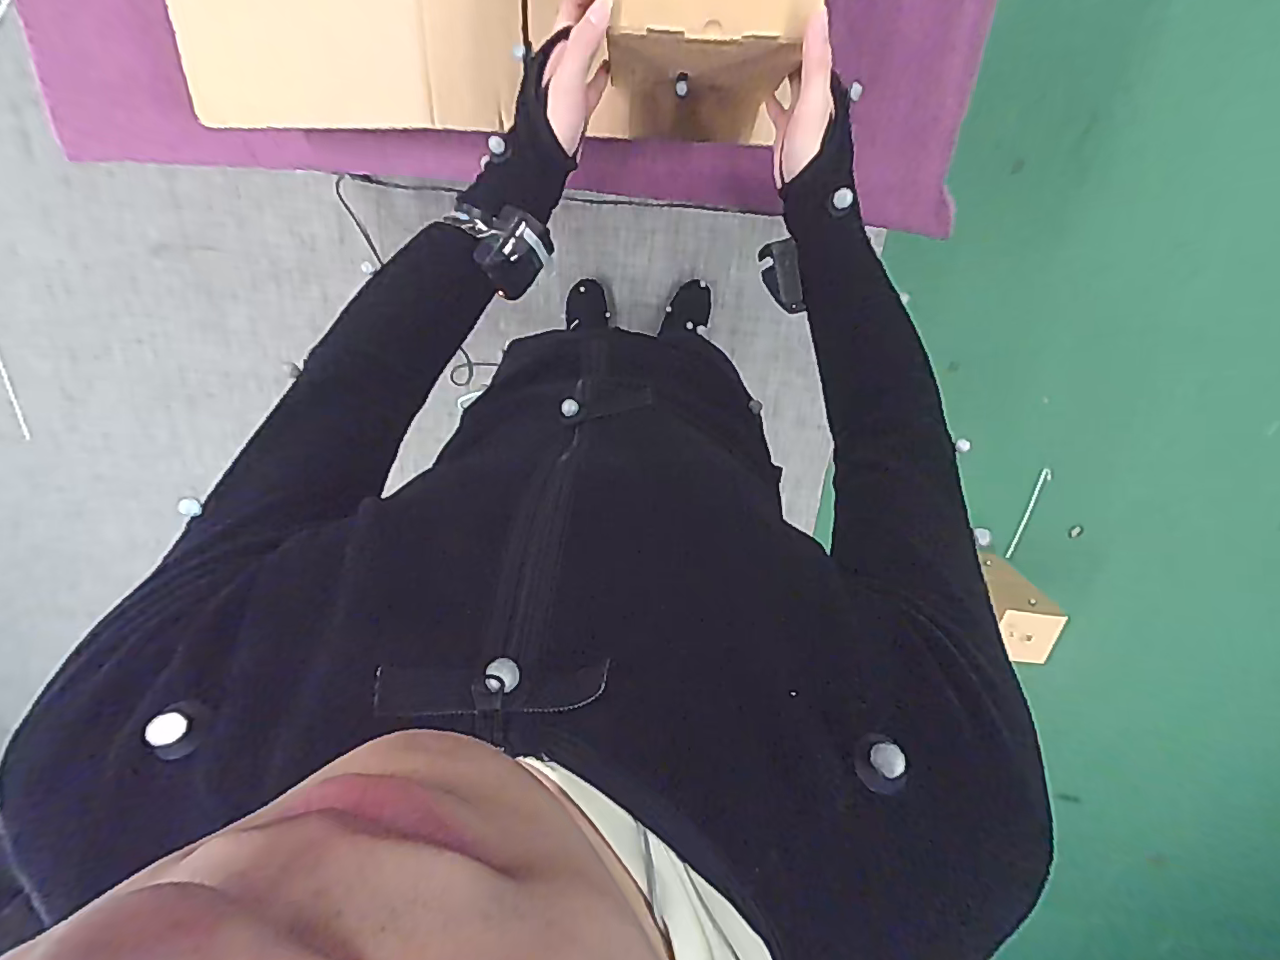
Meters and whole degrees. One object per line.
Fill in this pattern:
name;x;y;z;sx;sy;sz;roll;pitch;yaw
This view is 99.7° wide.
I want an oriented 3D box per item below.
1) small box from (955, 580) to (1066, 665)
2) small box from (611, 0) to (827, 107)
small box;1.063;0.408;1.566;0.179;0.176;0.168;7;112;-2
small box;0.059;-0.442;0.457;0.168;0.176;0.179;1;114;-2
